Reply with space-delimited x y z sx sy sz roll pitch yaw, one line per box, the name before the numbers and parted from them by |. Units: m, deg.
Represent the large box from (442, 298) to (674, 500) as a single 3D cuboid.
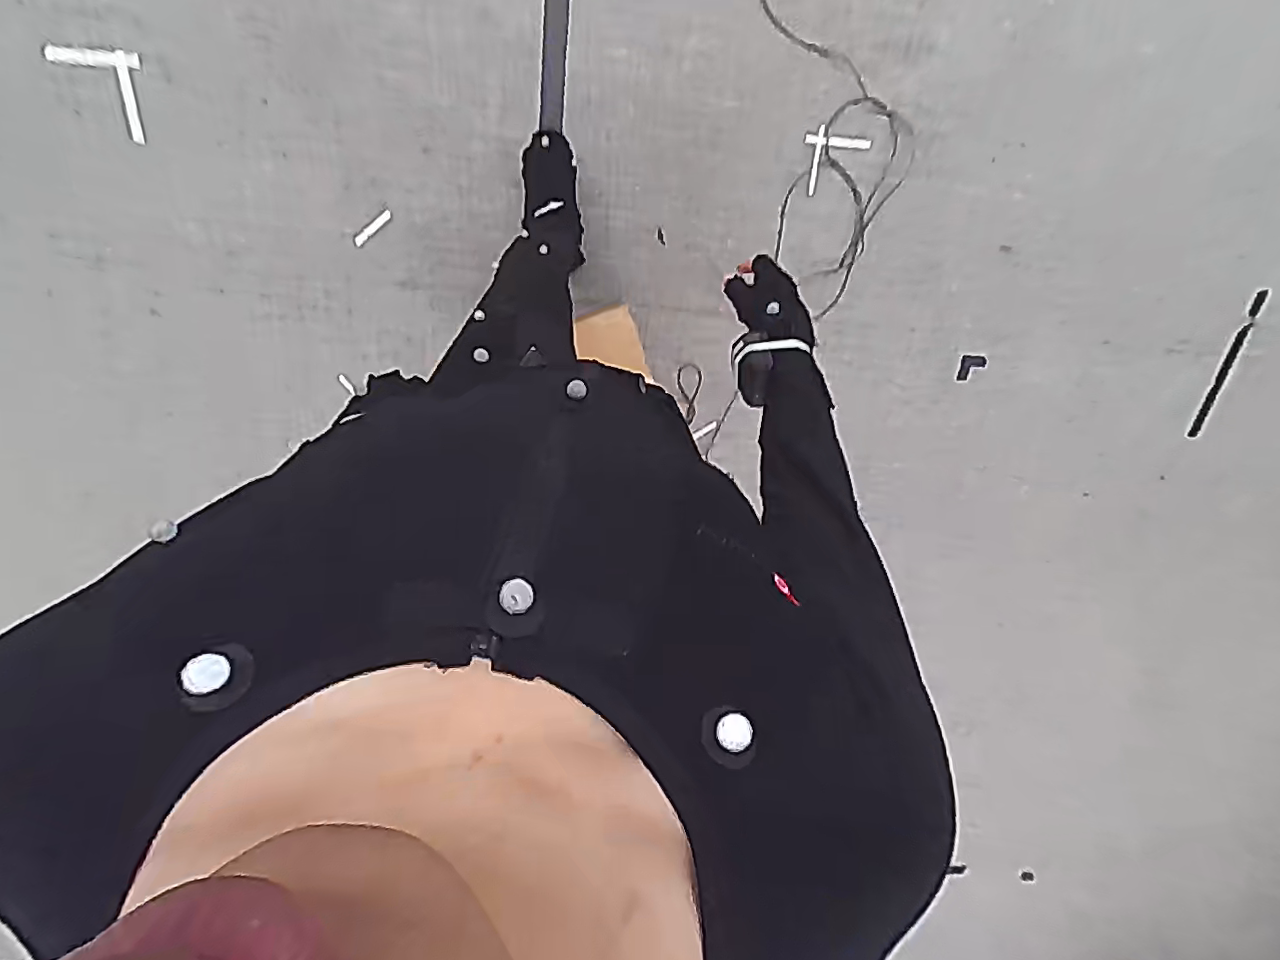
large box | -0.171 -0.201 1.245 0.408 0.320 0.320 -19 110 2
